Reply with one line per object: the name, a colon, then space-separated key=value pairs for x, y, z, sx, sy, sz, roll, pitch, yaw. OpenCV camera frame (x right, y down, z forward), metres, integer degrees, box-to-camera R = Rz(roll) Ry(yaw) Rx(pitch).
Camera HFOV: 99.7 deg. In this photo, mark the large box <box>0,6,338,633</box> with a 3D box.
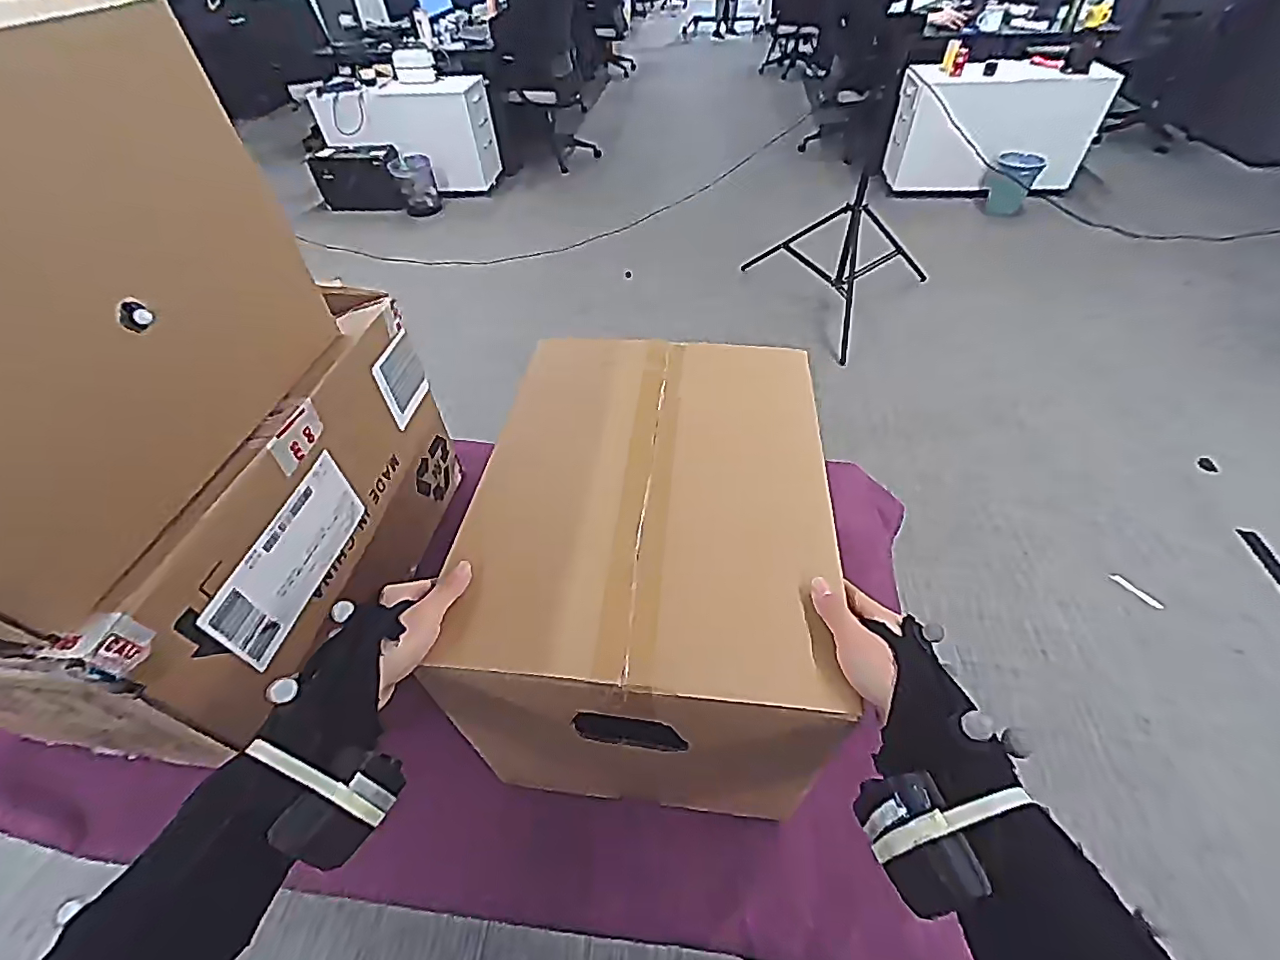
large box: x=-0.535 y=-0.140 z=0.432 sx=0.320 sy=0.320 sz=0.408 roll=2 pitch=48 yaw=7
